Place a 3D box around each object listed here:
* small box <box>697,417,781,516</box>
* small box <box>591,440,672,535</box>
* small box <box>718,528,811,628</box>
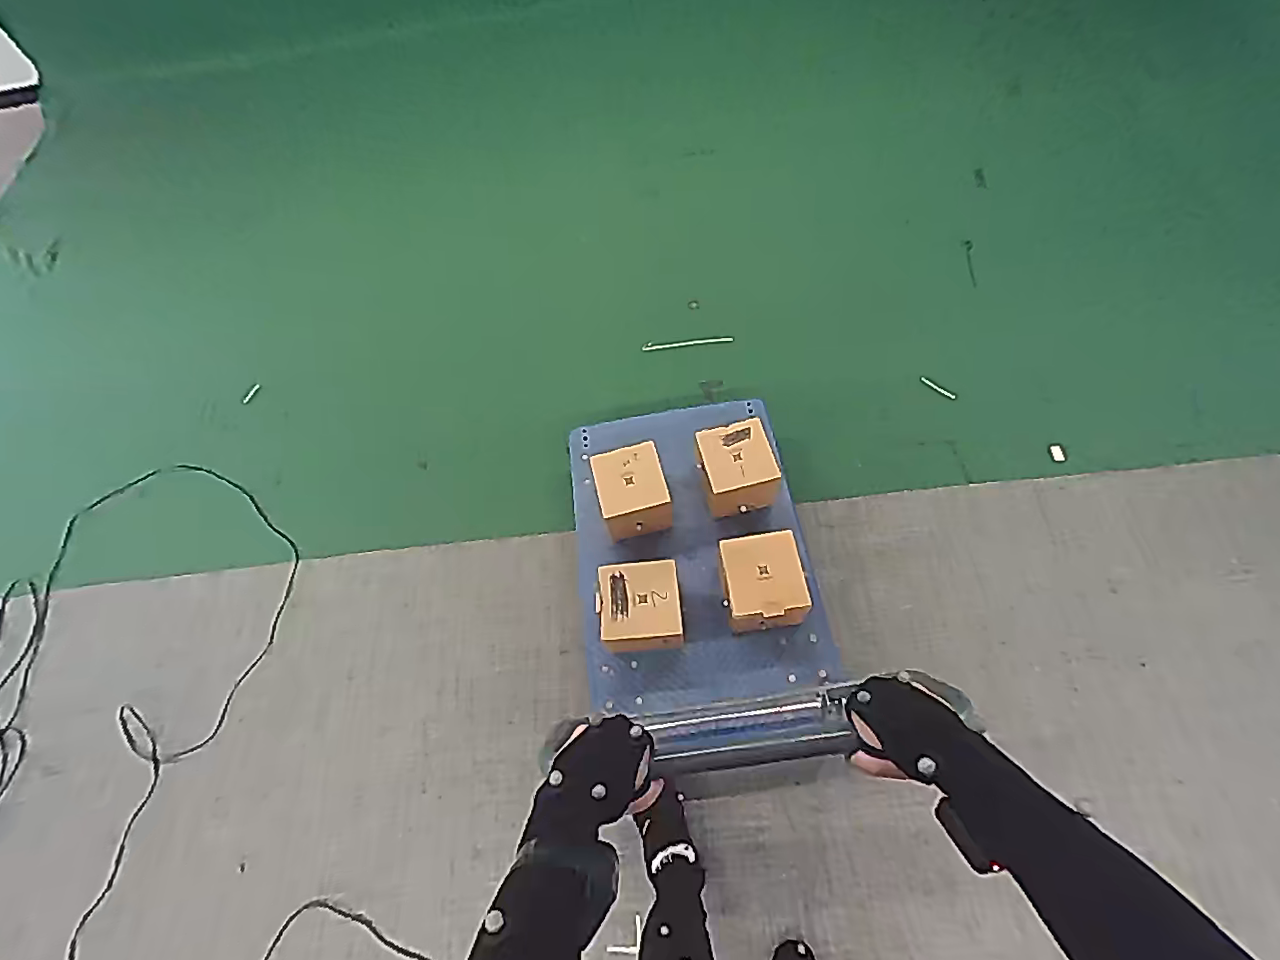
[{"bbox_3d":[0.243,-0.031,1.374,0.168,0.176,0.179,-14,64,0],"label":"small box"},{"bbox_3d":[-0.017,0.027,1.374,0.168,0.176,0.179,-14,63,-2],"label":"small box"},{"bbox_3d":[0.277,0.229,1.244,0.168,0.176,0.179,-9,64,2],"label":"small box"}]
